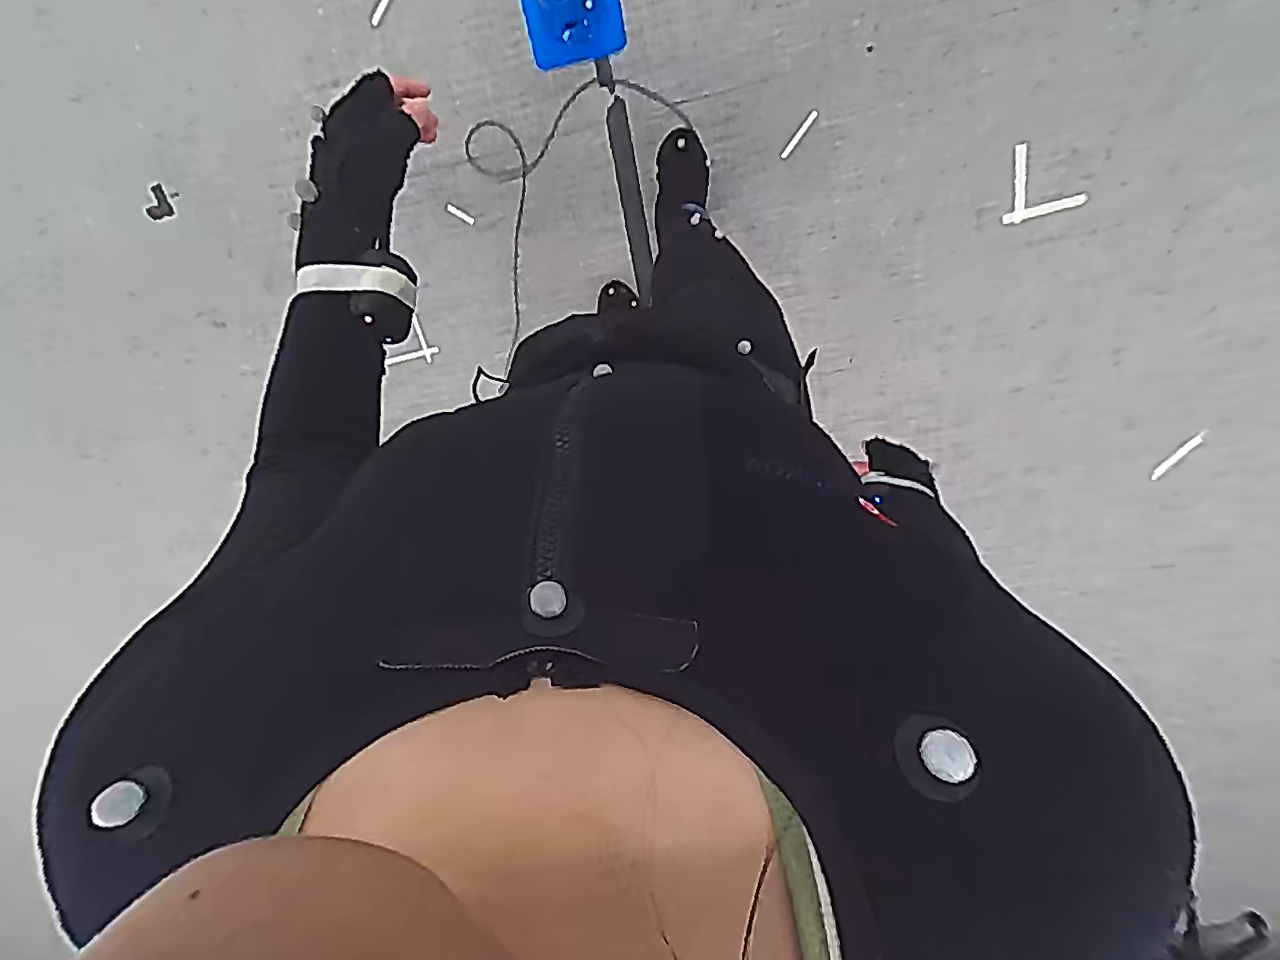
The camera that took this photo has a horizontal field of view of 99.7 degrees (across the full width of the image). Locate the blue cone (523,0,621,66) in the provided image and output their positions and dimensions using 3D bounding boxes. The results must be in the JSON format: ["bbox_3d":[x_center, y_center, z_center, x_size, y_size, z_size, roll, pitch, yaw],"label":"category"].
[{"bbox_3d":[-0.150,-0.889,0.937,0.193,0.380,0.192,-10,114,8],"label":"blue cone"}]
